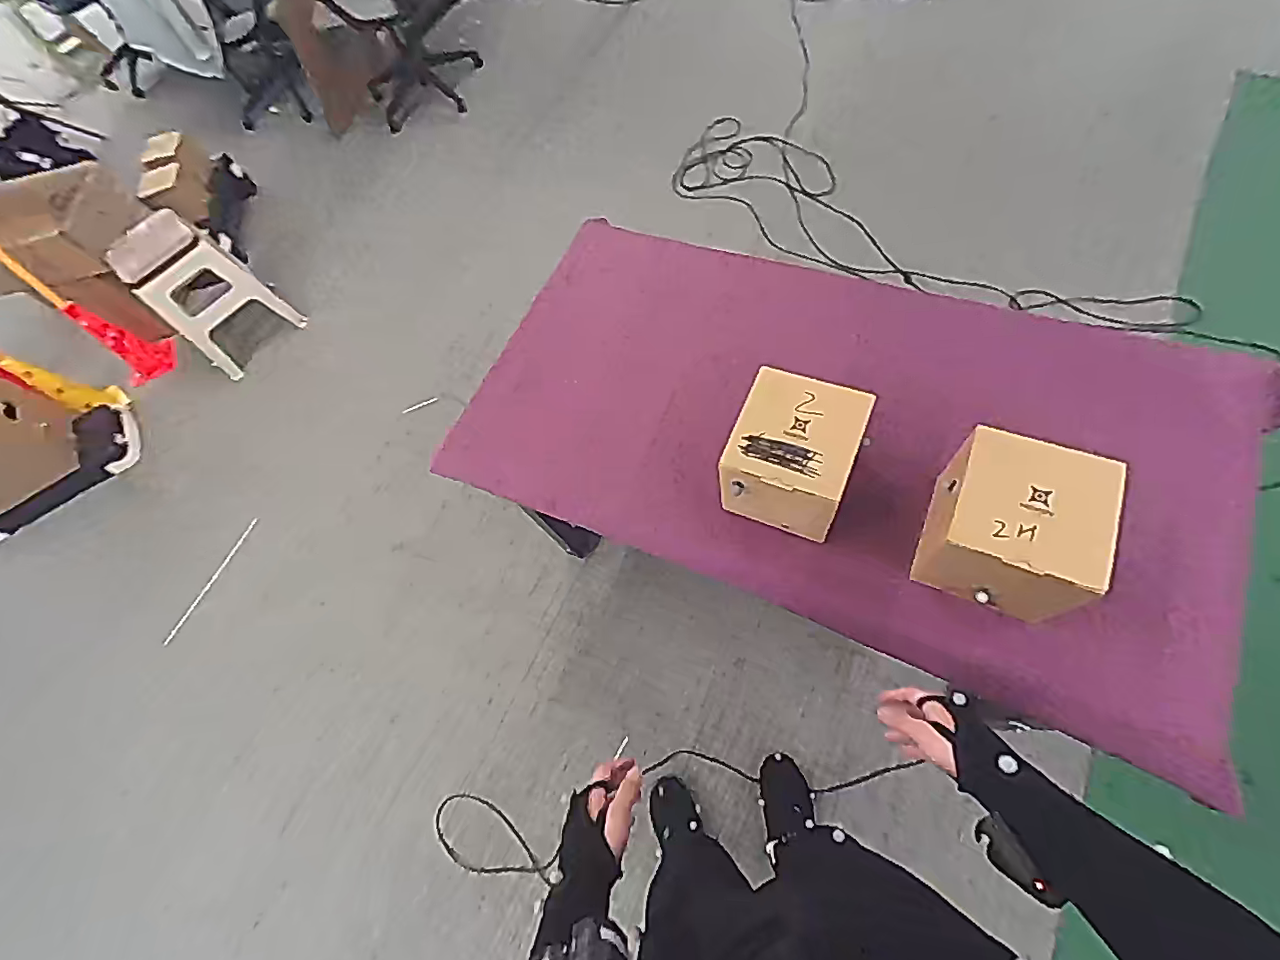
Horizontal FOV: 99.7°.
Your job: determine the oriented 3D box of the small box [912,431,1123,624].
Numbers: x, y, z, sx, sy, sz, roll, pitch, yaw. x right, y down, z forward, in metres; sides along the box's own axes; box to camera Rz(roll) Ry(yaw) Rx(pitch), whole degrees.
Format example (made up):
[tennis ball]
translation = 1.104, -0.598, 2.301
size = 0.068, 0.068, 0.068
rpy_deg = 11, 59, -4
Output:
[small box]
translation = 0.485, 0.068, 0.718
size = 0.168, 0.176, 0.179
rpy_deg = 20, 70, 20
